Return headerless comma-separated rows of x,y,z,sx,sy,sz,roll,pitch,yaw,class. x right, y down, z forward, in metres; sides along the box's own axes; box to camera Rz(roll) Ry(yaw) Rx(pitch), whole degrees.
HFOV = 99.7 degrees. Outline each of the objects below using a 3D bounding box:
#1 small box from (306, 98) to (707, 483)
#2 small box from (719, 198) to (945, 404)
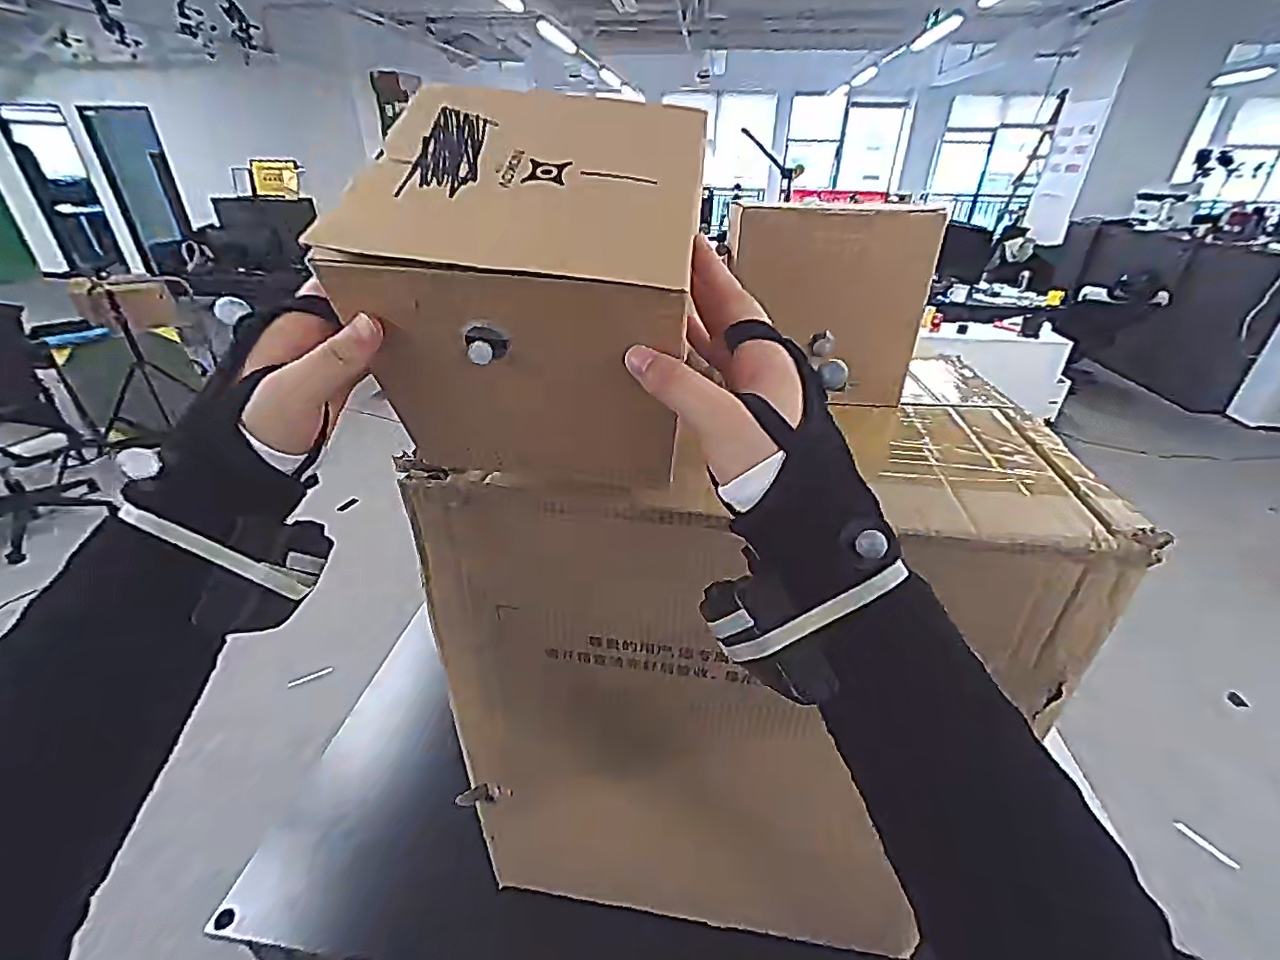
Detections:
-0.056,-0.112,0.346,0.179,0.176,0.168,6,57,4,small box
0.169,-0.186,0.546,0.168,0.176,0.179,2,28,5,small box
